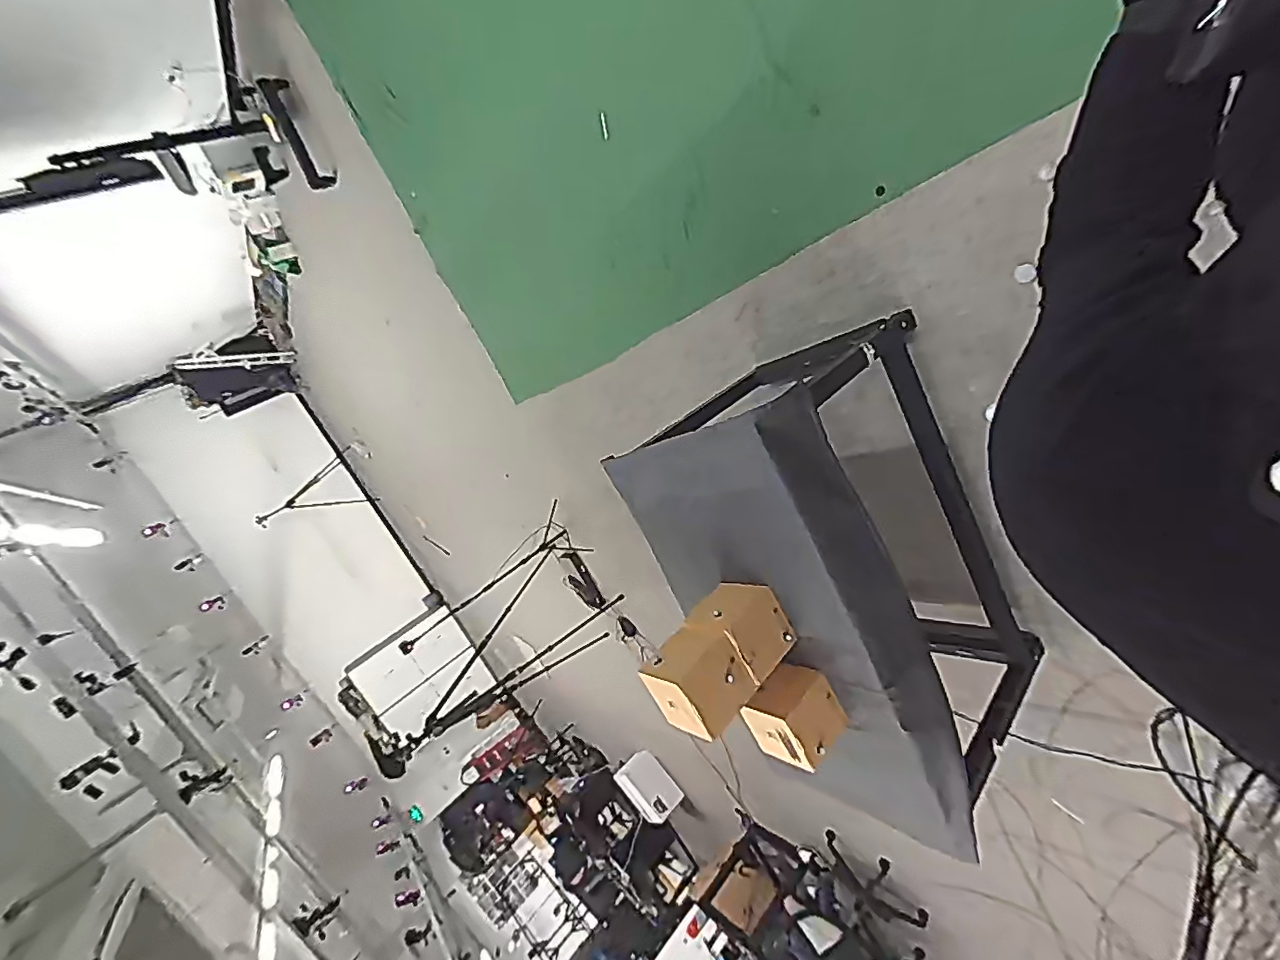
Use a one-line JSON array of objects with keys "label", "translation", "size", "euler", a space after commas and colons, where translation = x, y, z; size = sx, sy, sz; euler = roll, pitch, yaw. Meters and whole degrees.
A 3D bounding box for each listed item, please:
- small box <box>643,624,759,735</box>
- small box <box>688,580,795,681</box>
[{"label": "small box", "translation": [0.145, 0.462, 1.281], "size": [0.179, 0.176, 0.168], "euler": [-15, 109, 57]}, {"label": "small box", "translation": [0.261, 0.366, 1.350], "size": [0.179, 0.176, 0.168], "euler": [-11, 111, 58]}]
